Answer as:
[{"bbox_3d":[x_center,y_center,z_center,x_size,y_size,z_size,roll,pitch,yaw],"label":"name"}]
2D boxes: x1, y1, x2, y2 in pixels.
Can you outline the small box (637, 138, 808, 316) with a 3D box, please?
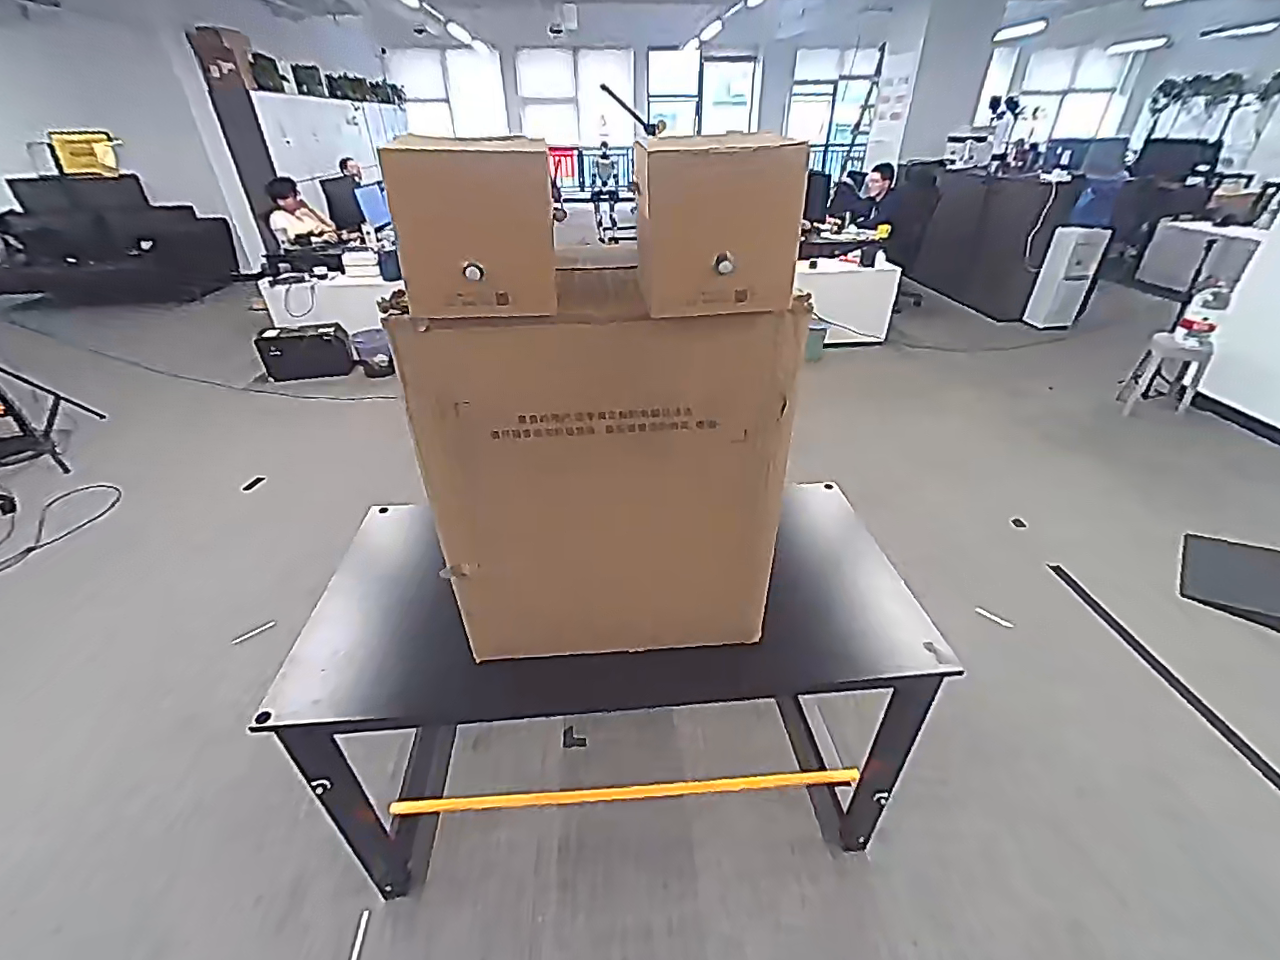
[{"bbox_3d":[0.084,-0.307,0.652,0.168,0.176,0.179,-5,36,-3],"label":"small box"}]
